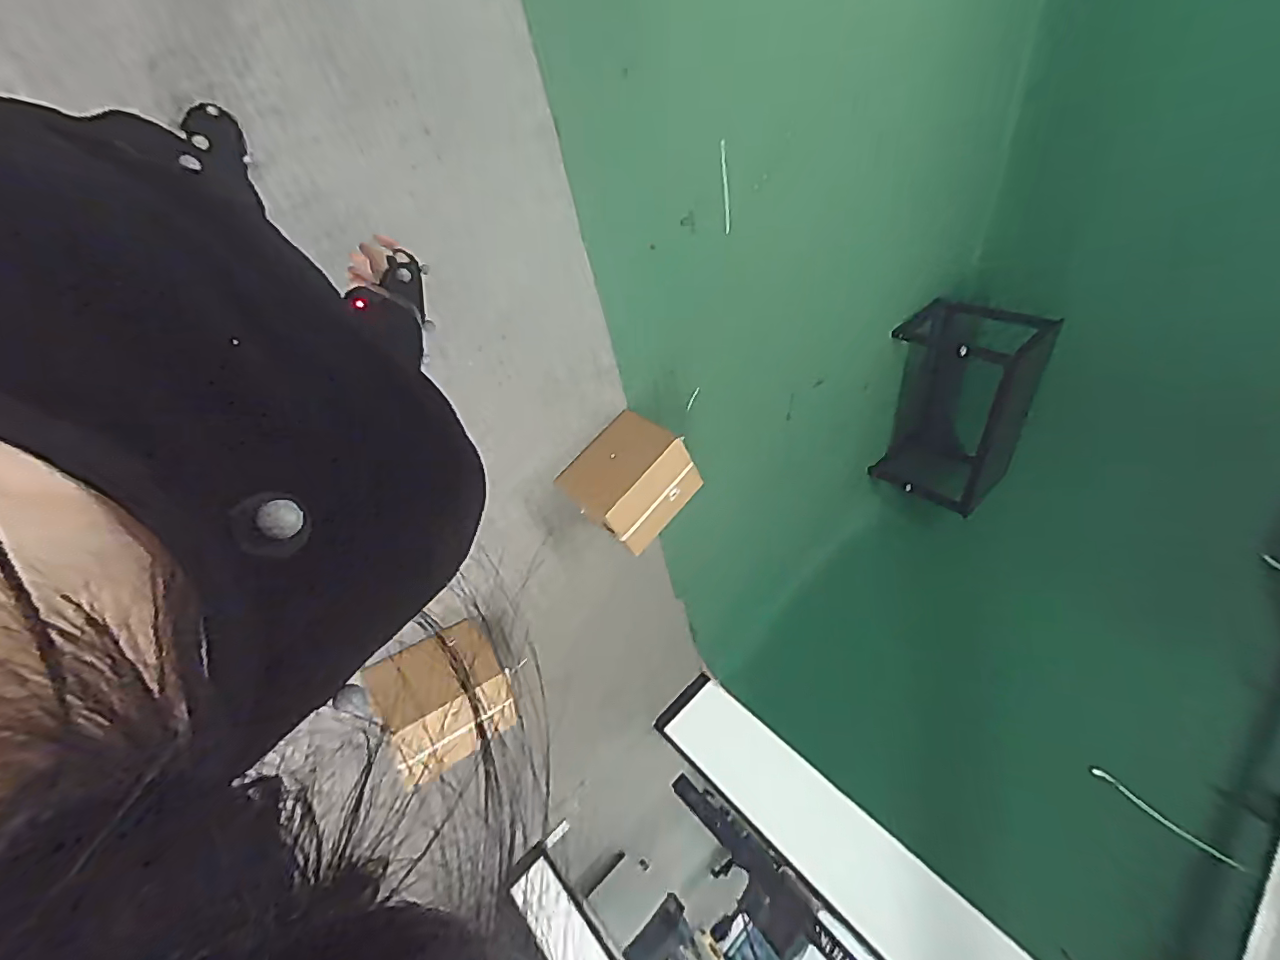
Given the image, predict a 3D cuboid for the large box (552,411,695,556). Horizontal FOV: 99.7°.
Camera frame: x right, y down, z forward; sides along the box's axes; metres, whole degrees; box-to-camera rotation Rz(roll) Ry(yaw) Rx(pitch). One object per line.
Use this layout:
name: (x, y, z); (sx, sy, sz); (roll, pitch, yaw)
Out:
large box: (-0.060, 0.008, 2.097); (0.408, 0.320, 0.320); (-48, 141, -14)
